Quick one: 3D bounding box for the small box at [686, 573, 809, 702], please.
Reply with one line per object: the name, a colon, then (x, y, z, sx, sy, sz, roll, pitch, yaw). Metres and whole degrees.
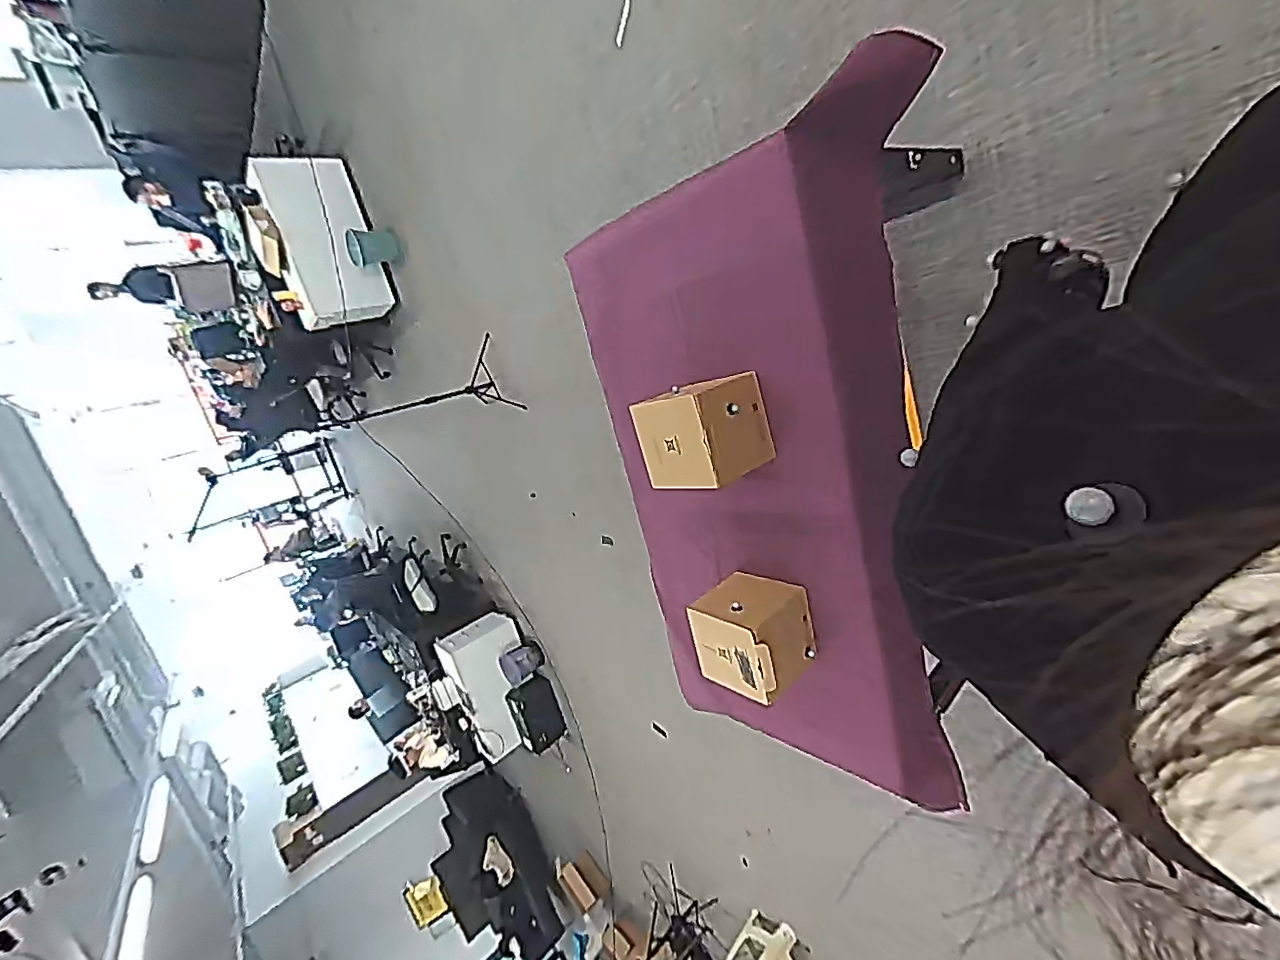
small box: (0.225, 0.306, 1.094, 0.179, 0.176, 0.168, 5, 114, 51)

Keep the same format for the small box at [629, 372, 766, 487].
small box: (0.113, -0.092, 0.999, 0.179, 0.176, 0.168, 0, 110, 52)
